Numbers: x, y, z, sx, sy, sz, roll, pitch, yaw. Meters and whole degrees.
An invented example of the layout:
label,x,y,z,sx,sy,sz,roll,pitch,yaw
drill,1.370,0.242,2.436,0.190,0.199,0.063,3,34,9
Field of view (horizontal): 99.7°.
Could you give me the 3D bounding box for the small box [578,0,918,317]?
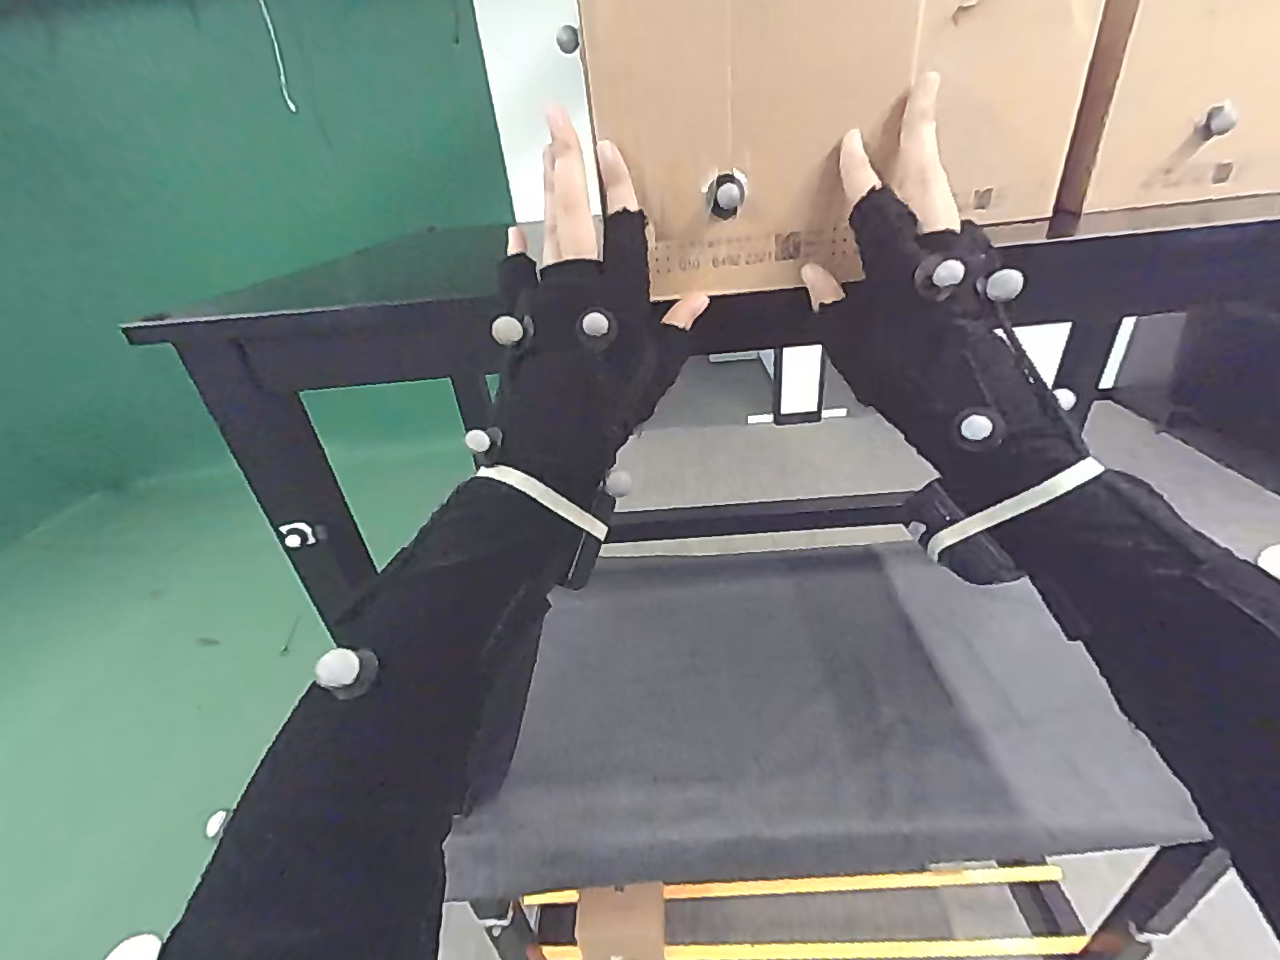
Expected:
label,x,y,z,sx,sy,sz,roll,pitch,yaw
small box,0.055,-0.217,0.363,0.168,0.176,0.179,-6,32,1
